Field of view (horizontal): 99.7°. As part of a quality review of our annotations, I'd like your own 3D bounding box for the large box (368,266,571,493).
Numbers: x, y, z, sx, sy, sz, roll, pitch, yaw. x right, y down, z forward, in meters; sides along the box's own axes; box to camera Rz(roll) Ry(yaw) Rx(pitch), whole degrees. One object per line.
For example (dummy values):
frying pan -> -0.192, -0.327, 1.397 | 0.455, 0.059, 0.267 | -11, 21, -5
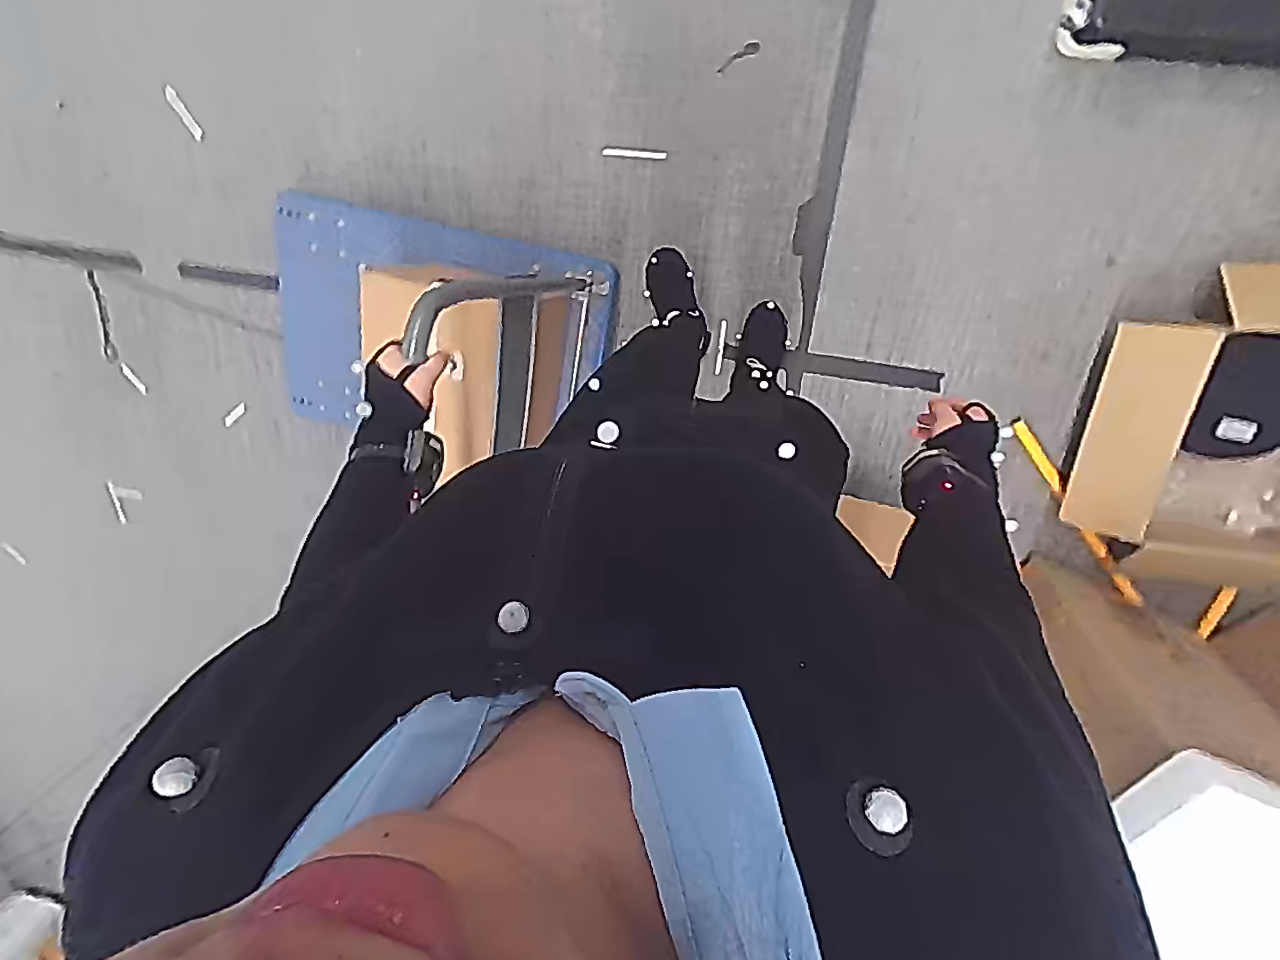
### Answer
large box -> -0.370, -0.237, 1.210 | 0.320, 0.320, 0.408 | 15, 113, 6
